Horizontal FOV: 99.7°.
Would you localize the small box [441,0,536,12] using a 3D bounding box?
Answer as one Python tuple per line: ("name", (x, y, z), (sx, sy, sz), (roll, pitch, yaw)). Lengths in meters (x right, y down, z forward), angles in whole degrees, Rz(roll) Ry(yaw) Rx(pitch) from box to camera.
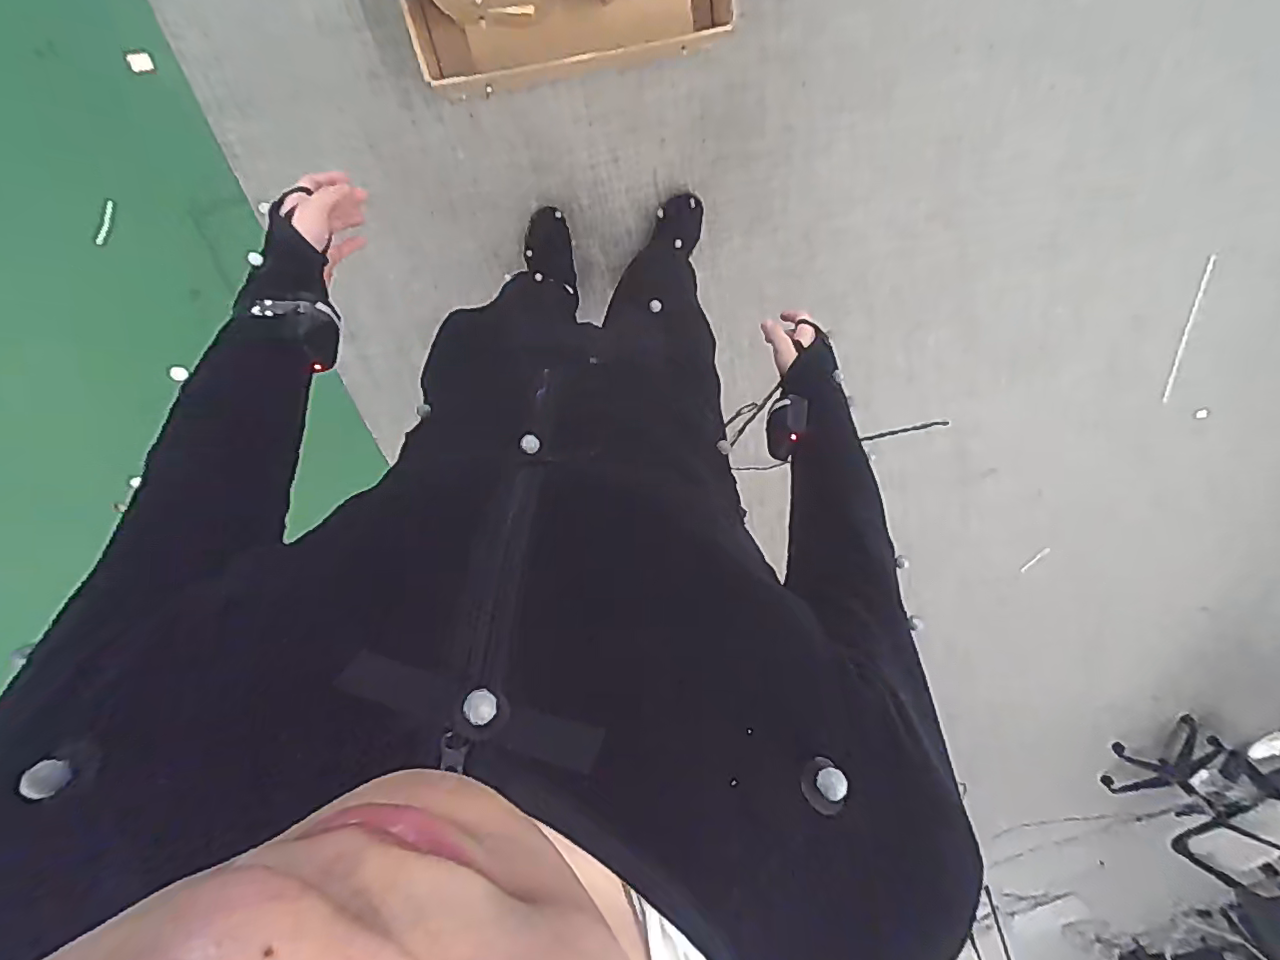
("small box", (-0.260, -0.874, 0.860), (0.179, 0.176, 0.168), (-8, 122, -3))
